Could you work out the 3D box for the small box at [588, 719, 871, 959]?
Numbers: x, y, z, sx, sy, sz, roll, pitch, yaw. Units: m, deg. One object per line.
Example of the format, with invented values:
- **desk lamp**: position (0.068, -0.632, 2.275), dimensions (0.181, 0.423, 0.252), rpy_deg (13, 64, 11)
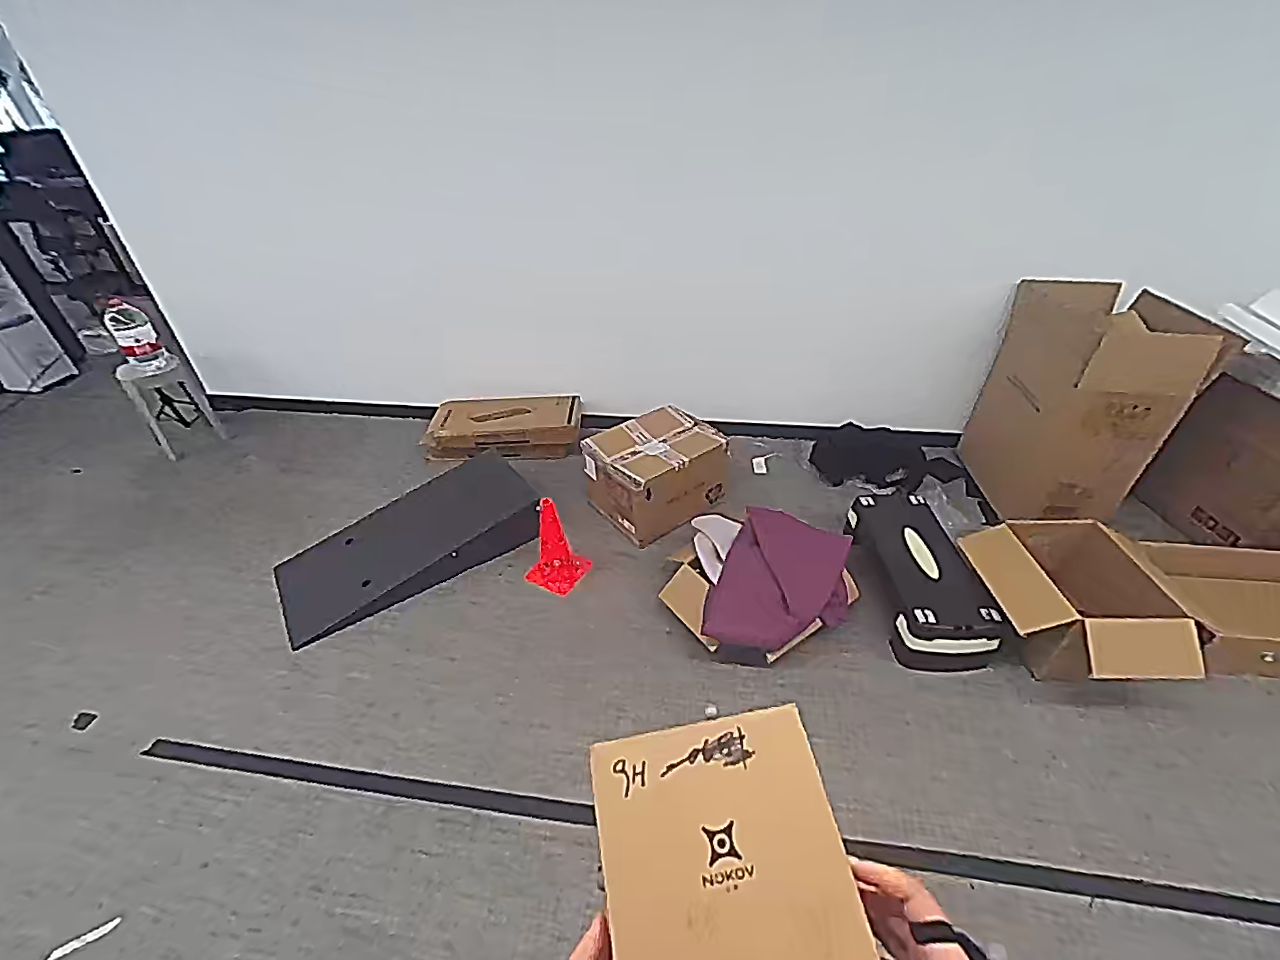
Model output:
- **small box**: position (0.058, 0.311, 0.431), dimensions (0.168, 0.176, 0.179), rpy_deg (-10, 56, -5)
